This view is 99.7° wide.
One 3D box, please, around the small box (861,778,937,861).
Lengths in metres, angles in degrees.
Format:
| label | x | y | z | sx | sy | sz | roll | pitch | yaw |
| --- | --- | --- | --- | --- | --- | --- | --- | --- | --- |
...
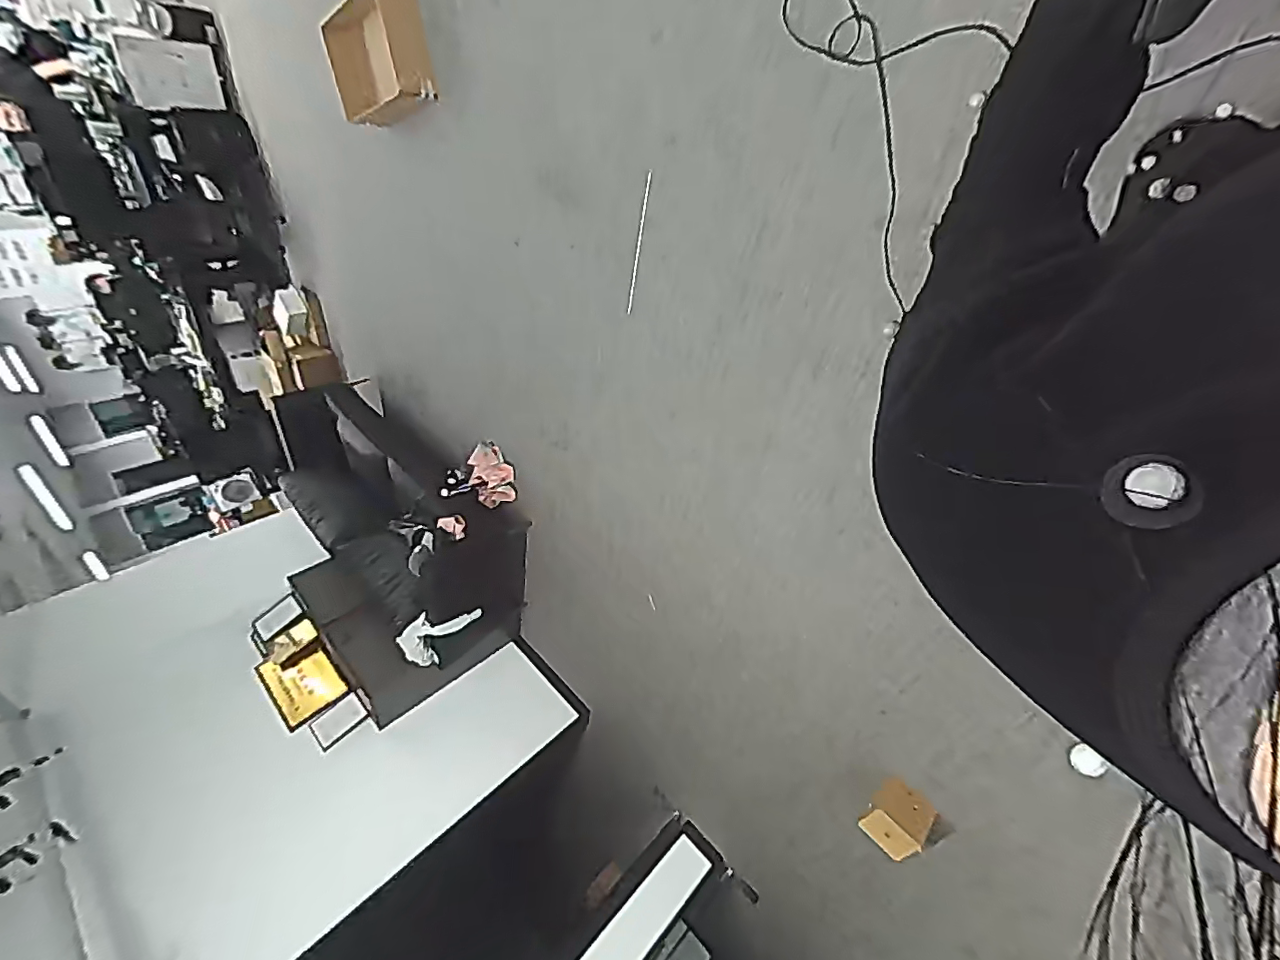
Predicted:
| label | x | y | z | sx | sy | sz | roll | pitch | yaw |
| --- | --- | --- | --- | --- | --- | --- | --- | --- | --- |
| small box | 0.955 | 1.245 | 1.990 | 0.168 | 0.176 | 0.179 | 39 | 135 | 26 |
